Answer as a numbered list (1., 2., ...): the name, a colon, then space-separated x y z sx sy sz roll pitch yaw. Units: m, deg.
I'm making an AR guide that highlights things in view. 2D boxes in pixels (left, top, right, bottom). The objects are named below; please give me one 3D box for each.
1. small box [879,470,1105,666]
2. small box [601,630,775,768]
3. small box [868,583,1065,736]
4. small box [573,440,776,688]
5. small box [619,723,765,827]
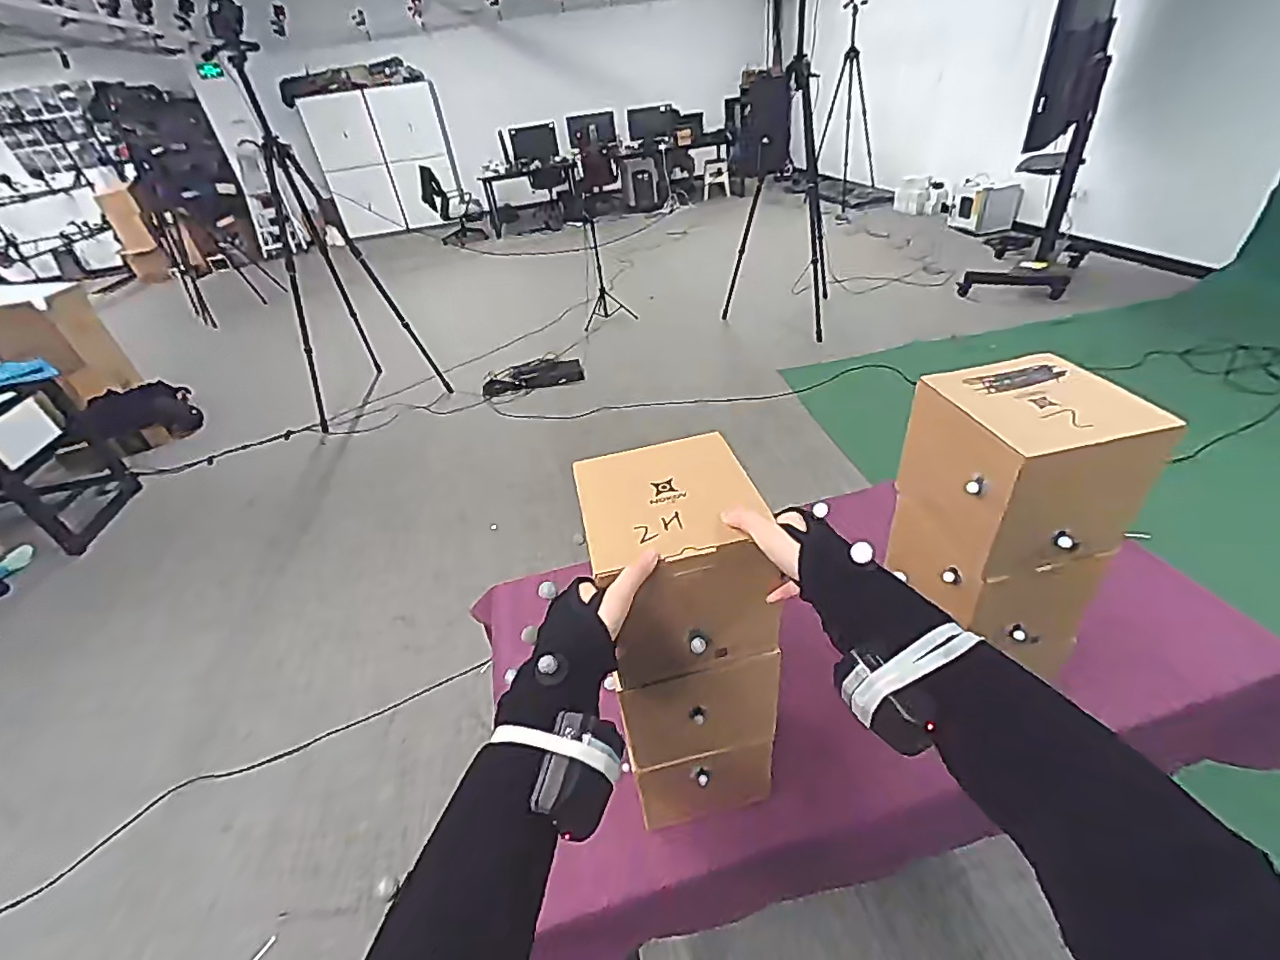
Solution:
1. small box: 0.447 0.114 0.725 0.168 0.176 0.179 -12 37 -5
2. small box: 0.051 0.219 0.664 0.179 0.176 0.168 -13 37 -4
3. small box: 0.470 0.251 0.812 0.179 0.176 0.168 -12 36 -6
4. small box: 0.030 0.084 0.572 0.168 0.176 0.179 -13 38 -6
5. small box: 0.065 0.352 0.757 0.179 0.176 0.168 -11 37 -5
